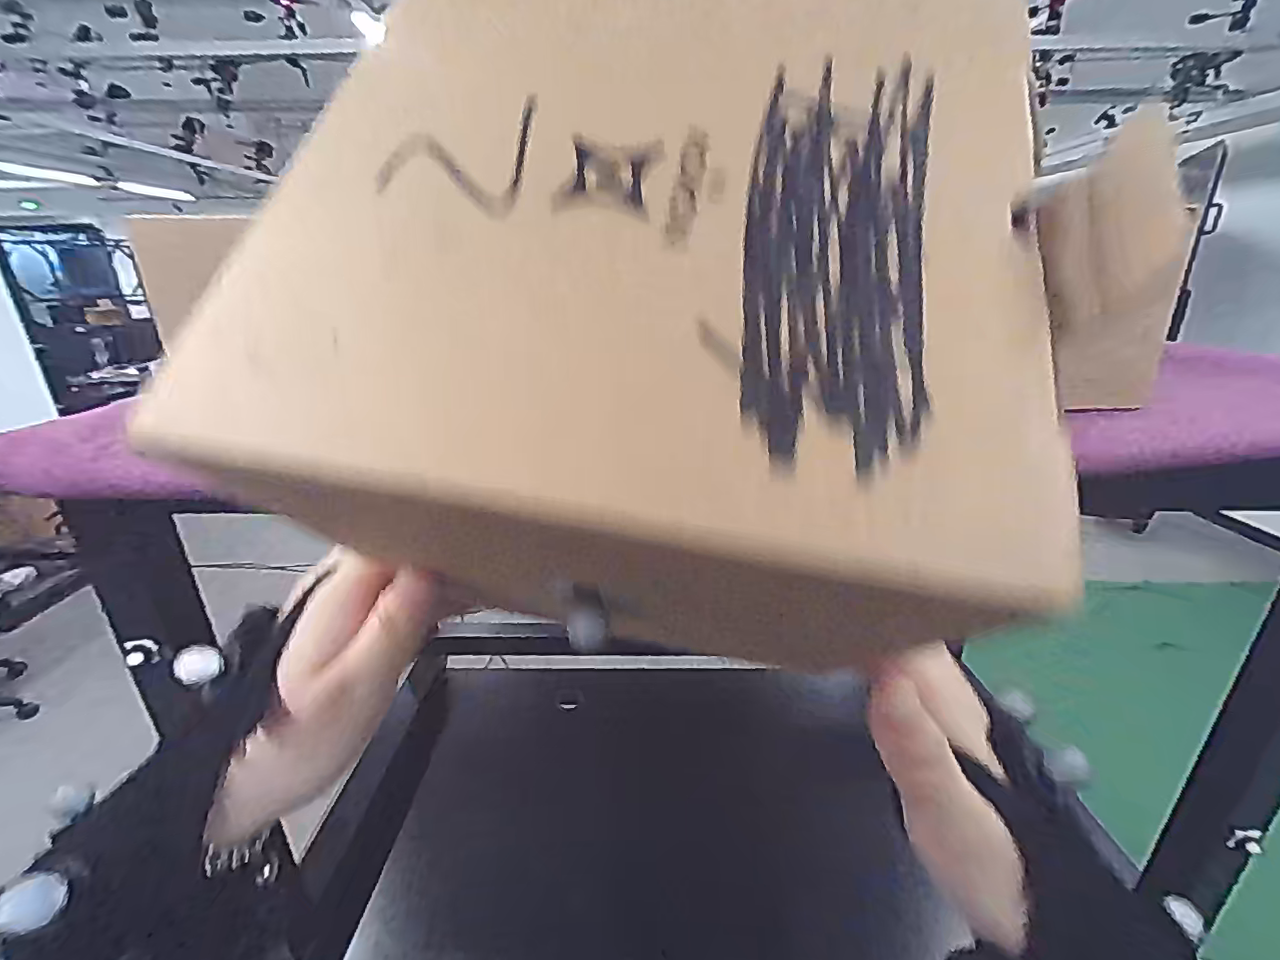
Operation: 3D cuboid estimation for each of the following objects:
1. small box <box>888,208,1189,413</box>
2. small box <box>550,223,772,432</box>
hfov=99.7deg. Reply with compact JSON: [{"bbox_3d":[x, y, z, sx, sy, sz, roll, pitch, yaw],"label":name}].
[{"bbox_3d":[0.365,-0.162,0.539,0.179,0.176,0.168,0,19,2],"label":"small box"},{"bbox_3d":[0.017,-0.148,0.520,0.179,0.176,0.168,-2,21,0],"label":"small box"}]
